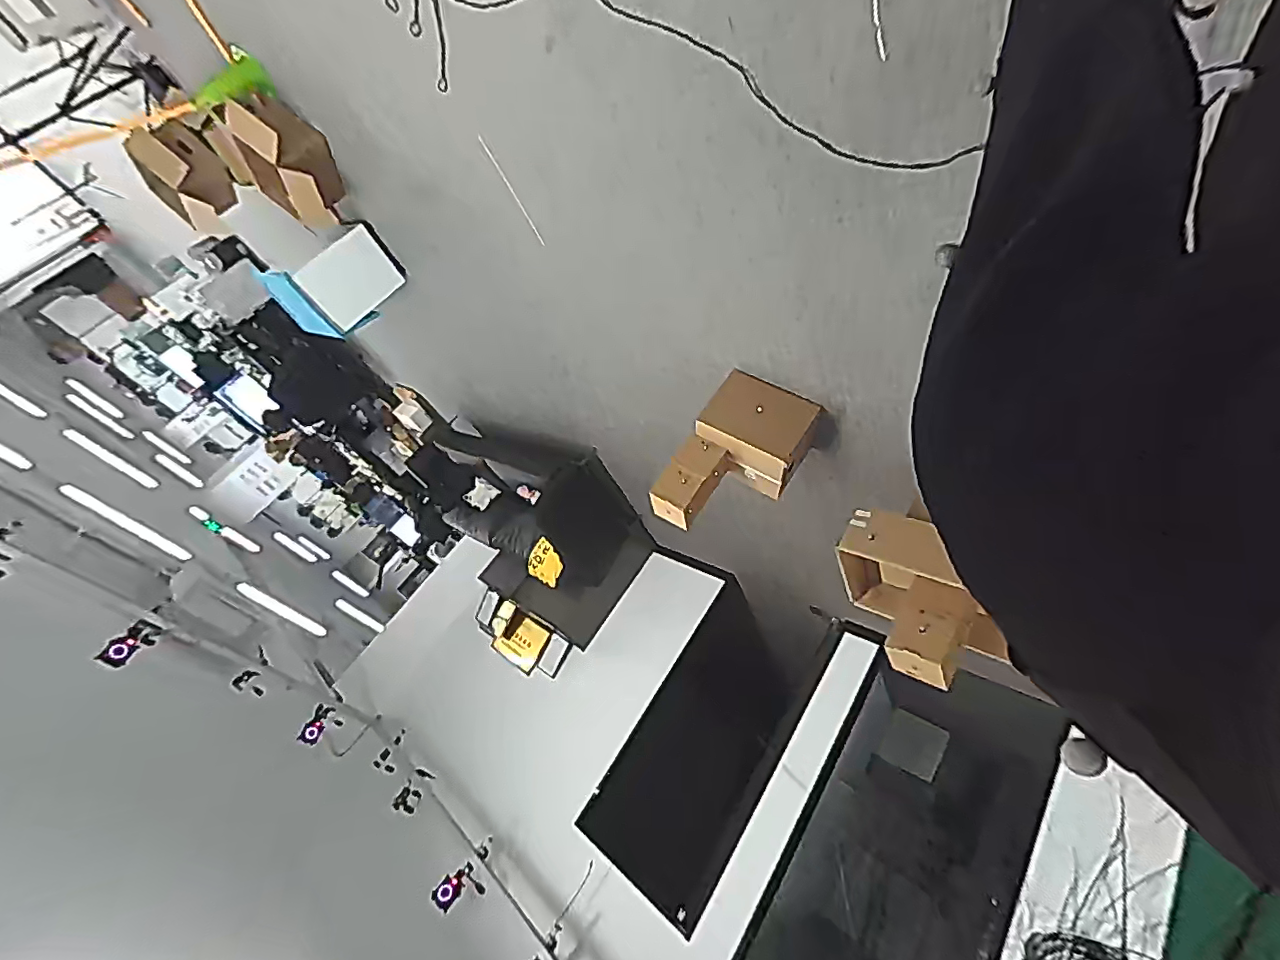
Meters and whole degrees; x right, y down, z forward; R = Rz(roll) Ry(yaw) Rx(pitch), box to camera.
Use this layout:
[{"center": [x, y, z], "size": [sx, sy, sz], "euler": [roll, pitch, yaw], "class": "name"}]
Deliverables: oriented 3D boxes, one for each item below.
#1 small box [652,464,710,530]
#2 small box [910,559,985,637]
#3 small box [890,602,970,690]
[{"center": [0.174, 0.067, 2.205], "size": [0.168, 0.176, 0.179], "euler": [27, 156, 25], "class": "small box"}, {"center": [0.989, 0.383, 1.731], "size": [0.168, 0.176, 0.179], "euler": [16, 149, 42], "class": "small box"}, {"center": [0.898, 0.504, 1.668], "size": [0.168, 0.176, 0.179], "euler": [15, 148, 45], "class": "small box"}]
